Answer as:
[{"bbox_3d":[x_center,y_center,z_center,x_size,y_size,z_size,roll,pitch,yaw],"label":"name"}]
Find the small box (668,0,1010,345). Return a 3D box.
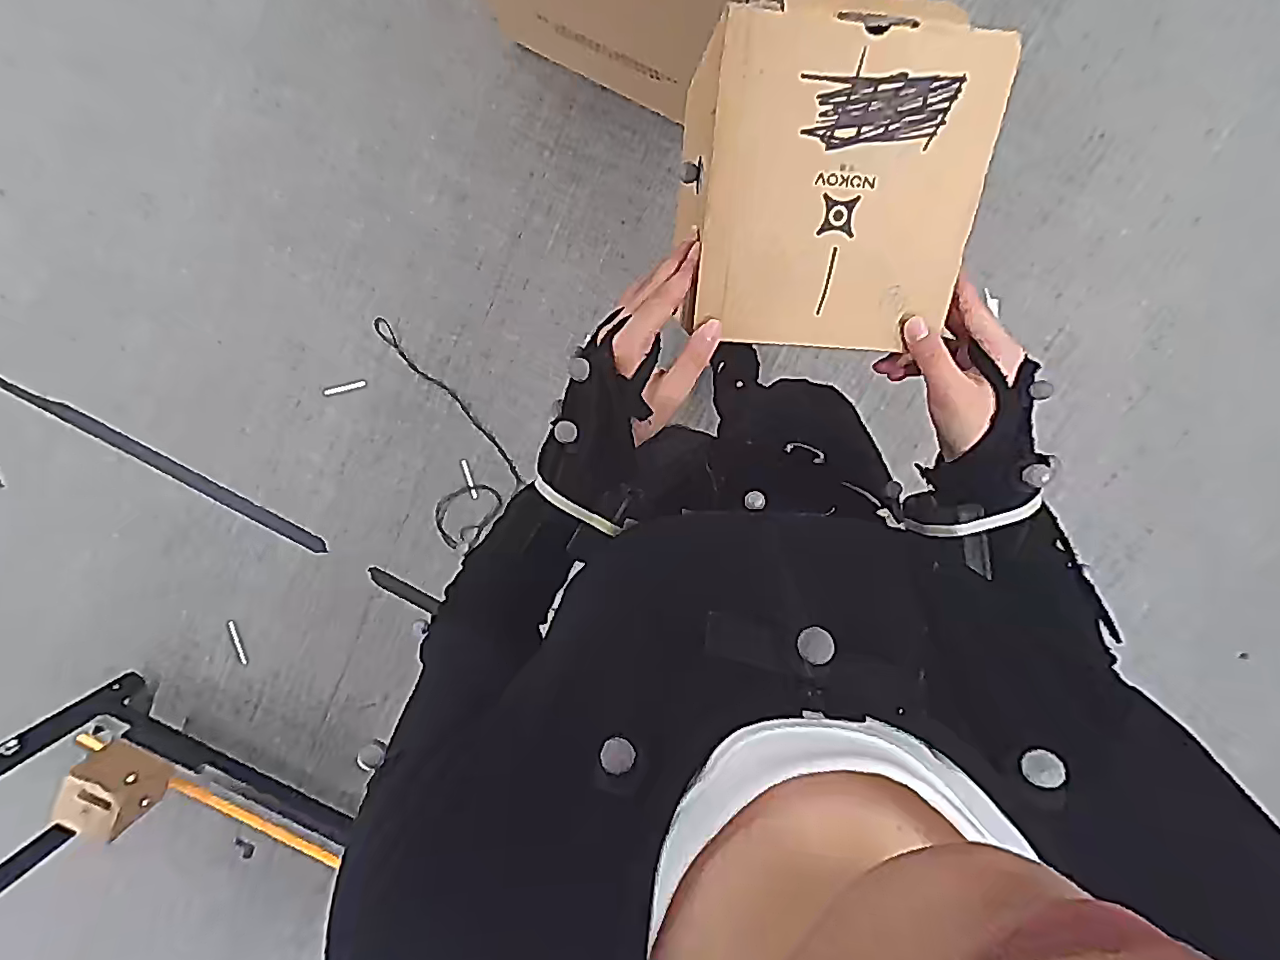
[{"bbox_3d":[0.113,-0.204,0.394,0.168,0.176,0.179,2,113,-3],"label":"small box"}]
